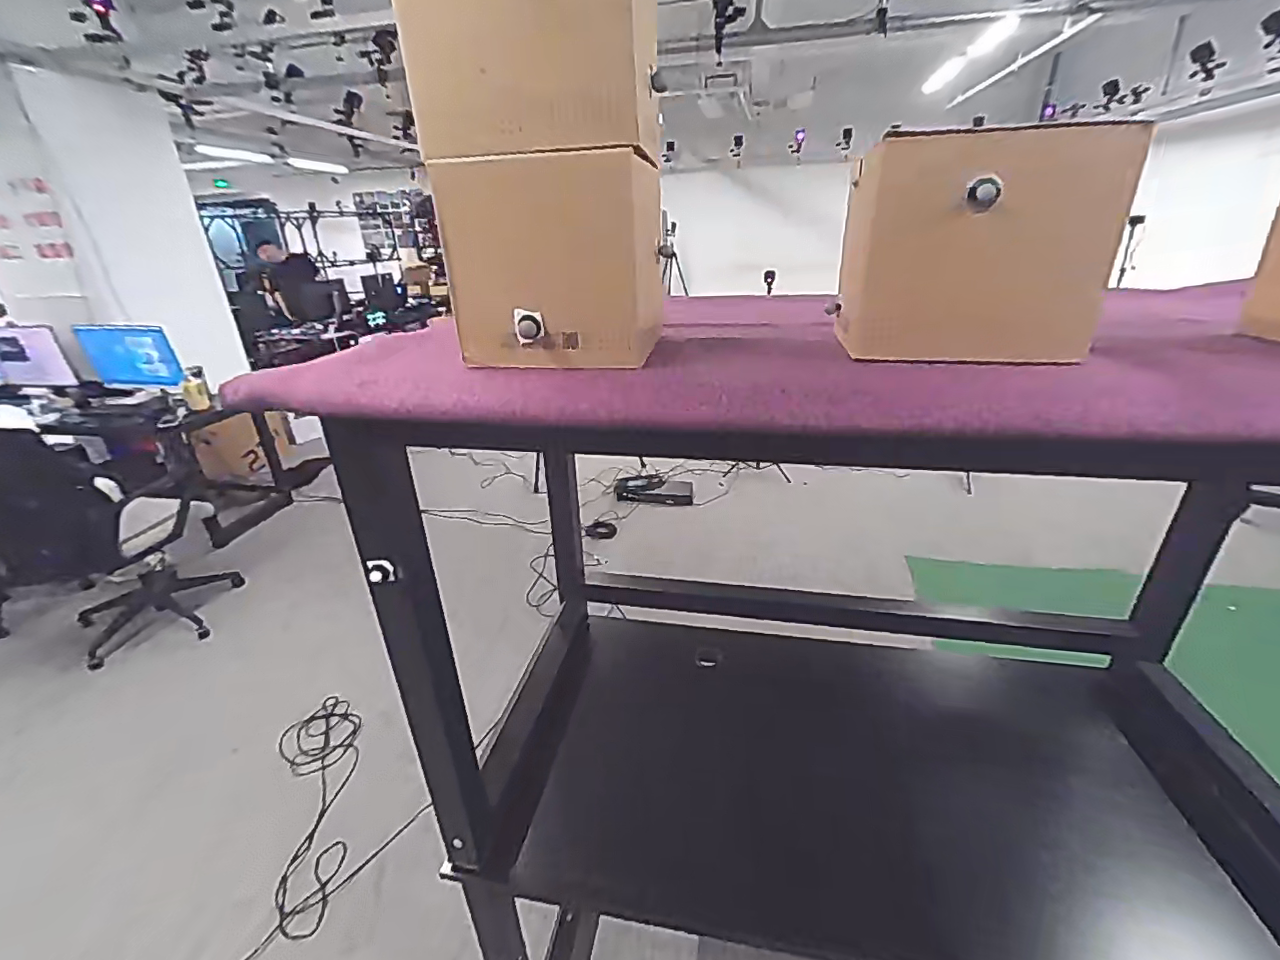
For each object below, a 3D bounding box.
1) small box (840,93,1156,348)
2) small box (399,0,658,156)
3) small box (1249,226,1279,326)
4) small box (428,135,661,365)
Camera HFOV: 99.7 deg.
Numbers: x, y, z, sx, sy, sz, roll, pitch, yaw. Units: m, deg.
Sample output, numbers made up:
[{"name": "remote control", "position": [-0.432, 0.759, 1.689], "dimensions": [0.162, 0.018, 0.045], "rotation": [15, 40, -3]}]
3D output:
[{"name": "small box", "position": [0.278, -0.212, 0.475], "dimensions": [0.179, 0.176, 0.168], "rotation": [4, 24, 12]}, {"name": "small box", "position": [-0.083, -0.363, 0.445], "dimensions": [0.179, 0.176, 0.168], "rotation": [0, 25, 8]}, {"name": "small box", "position": [0.630, -0.193, 0.397], "dimensions": [0.168, 0.176, 0.179], "rotation": [3, 23, 14]}, {"name": "small box", "position": [-0.070, -0.212, 0.512], "dimensions": [0.168, 0.176, 0.179], "rotation": [0, 26, 8]}]
